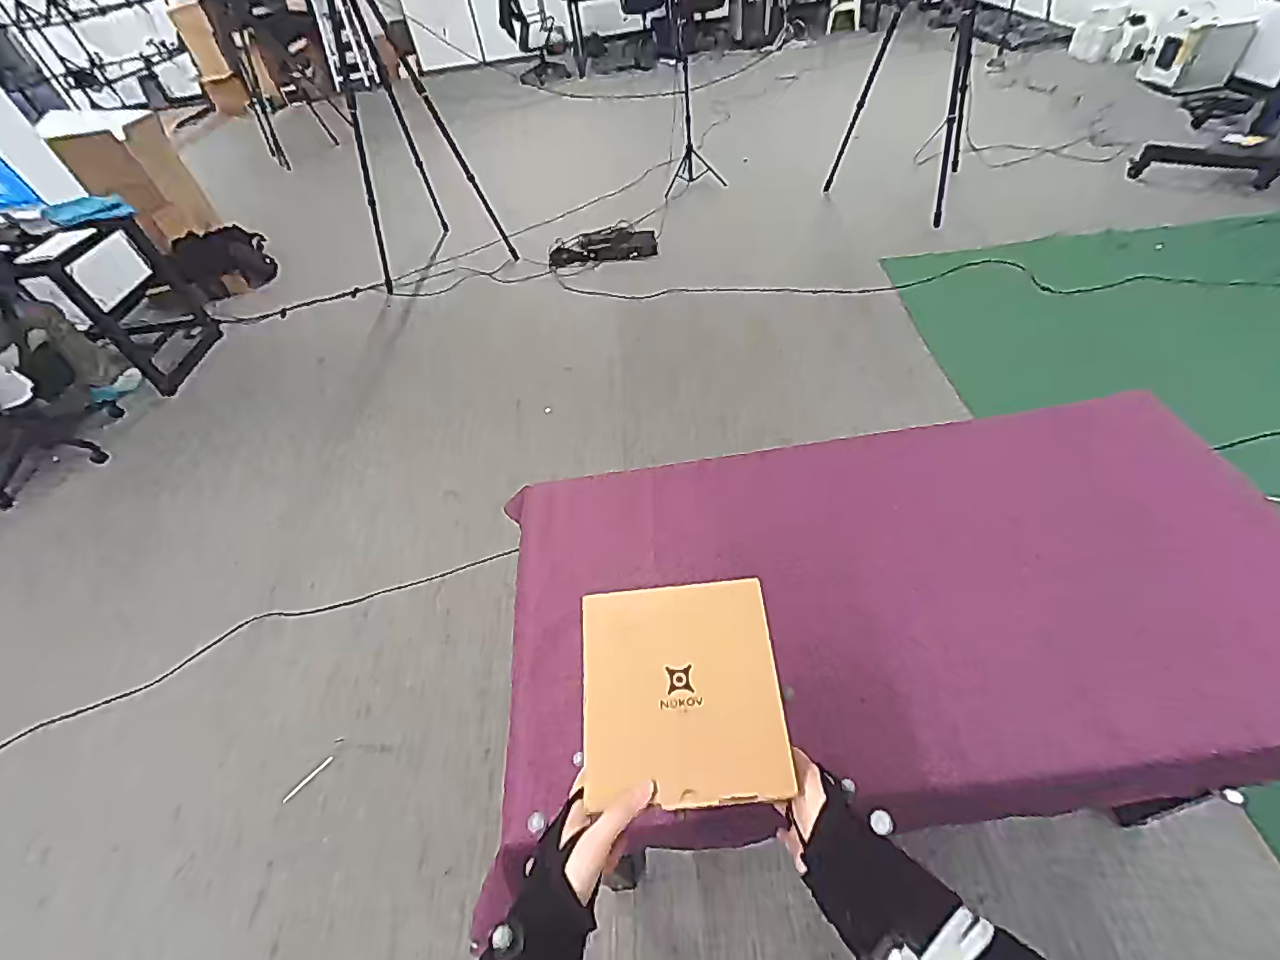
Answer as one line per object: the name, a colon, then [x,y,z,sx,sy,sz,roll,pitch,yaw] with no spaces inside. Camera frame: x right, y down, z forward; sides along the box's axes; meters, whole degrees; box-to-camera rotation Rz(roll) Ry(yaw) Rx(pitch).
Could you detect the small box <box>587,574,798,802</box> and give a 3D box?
small box: [0.043,0.209,0.529,0.168,0.176,0.179,-7,60,3]
